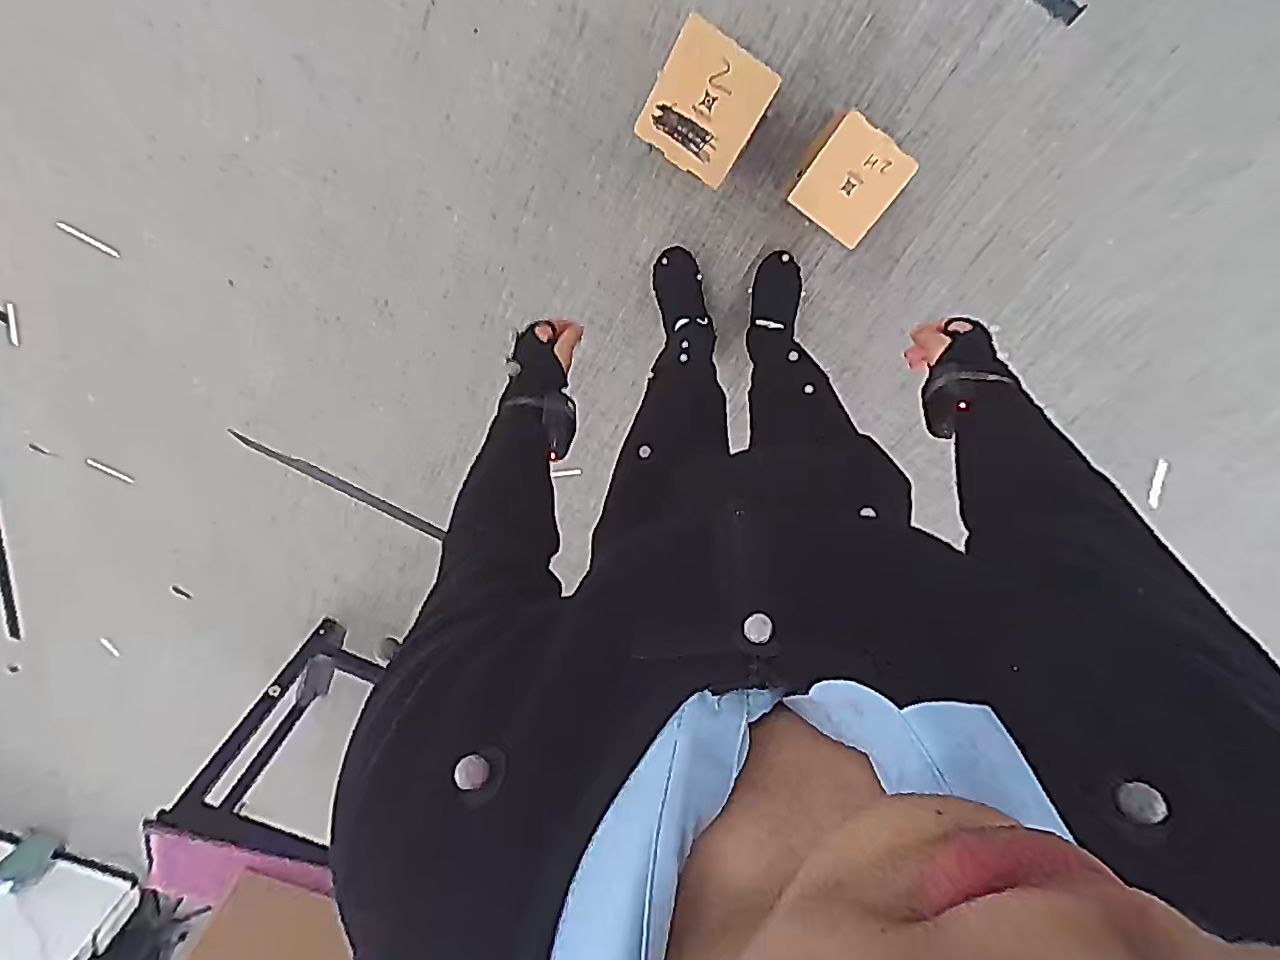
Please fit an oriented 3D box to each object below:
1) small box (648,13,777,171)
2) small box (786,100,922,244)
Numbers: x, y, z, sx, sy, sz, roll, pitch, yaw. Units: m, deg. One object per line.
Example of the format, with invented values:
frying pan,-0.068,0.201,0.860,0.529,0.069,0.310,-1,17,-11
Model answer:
small box,0.132,-0.721,1.022,0.168,0.176,0.179,31,121,-11
small box,0.404,-0.598,1.056,0.168,0.176,0.179,31,121,-12
